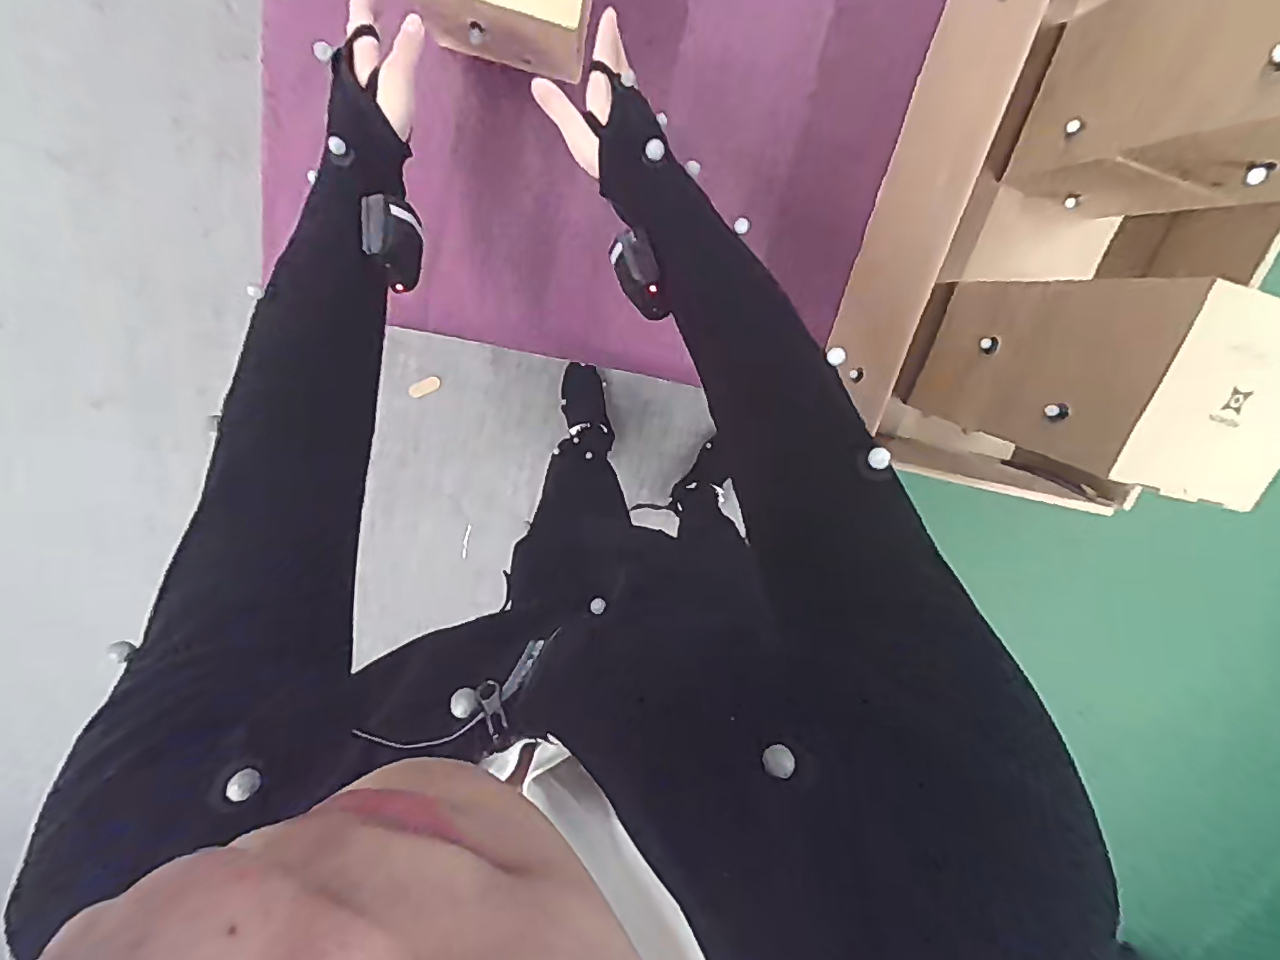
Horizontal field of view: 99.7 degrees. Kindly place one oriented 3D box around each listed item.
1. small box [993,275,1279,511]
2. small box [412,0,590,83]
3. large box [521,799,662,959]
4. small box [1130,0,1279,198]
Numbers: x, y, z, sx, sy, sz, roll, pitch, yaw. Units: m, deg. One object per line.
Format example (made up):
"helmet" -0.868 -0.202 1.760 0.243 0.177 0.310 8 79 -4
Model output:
"small box" 0.503 -0.093 0.541 0.168 0.176 0.179 12 107 -10
"small box" -0.130 -0.535 0.535 0.168 0.176 0.179 9 108 -10
"large box" -0.175 1.447 1.949 0.408 0.320 0.320 -20 112 0
"small box" 0.578 -0.357 0.452 0.168 0.176 0.179 13 109 -11
